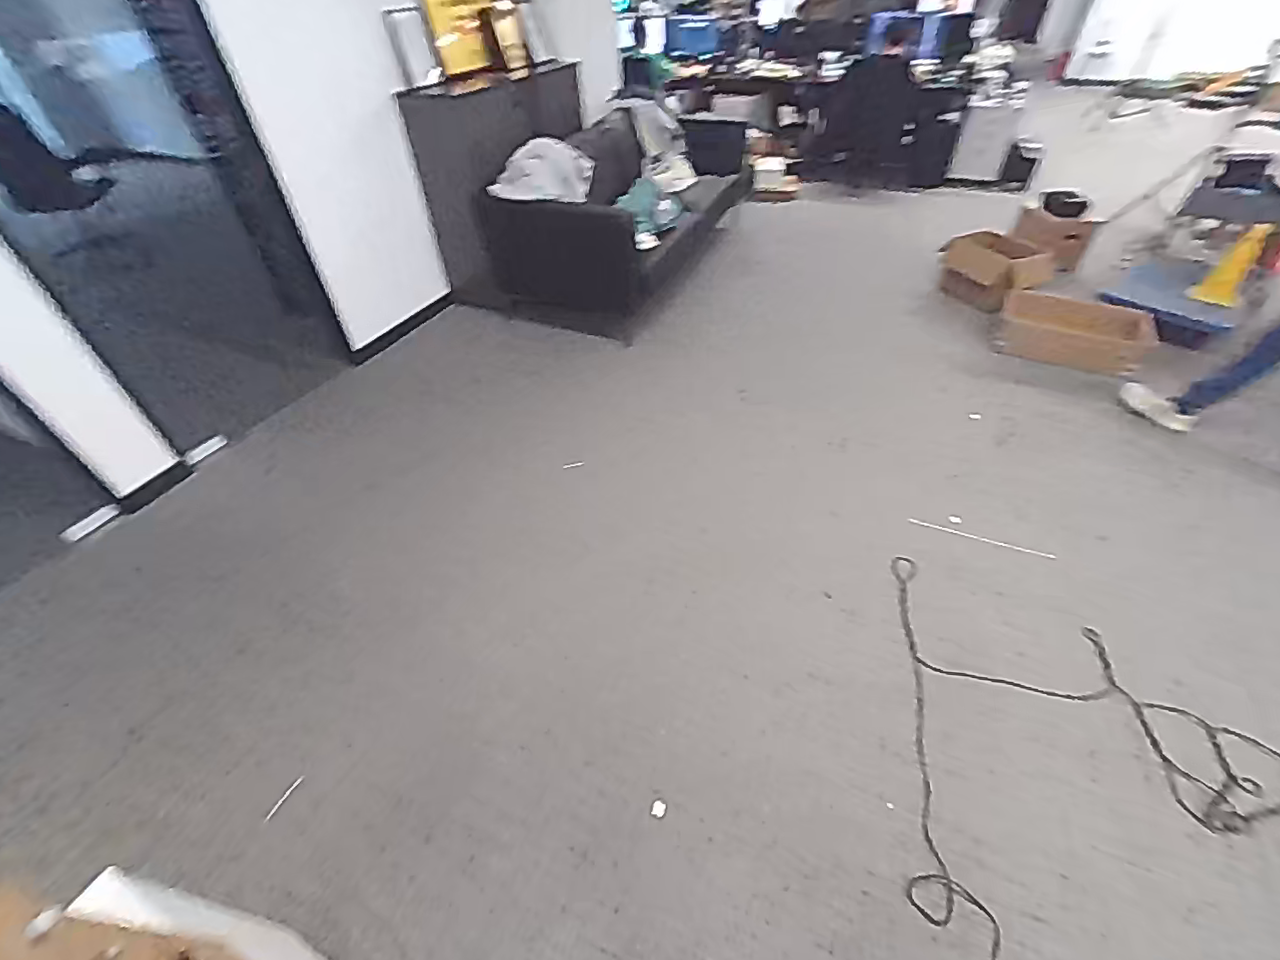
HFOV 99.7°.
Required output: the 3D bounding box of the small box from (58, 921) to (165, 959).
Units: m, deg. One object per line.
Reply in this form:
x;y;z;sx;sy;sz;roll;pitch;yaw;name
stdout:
-0.520;0.512;0.461;0.179;0.176;0.168;17;47;19;small box
